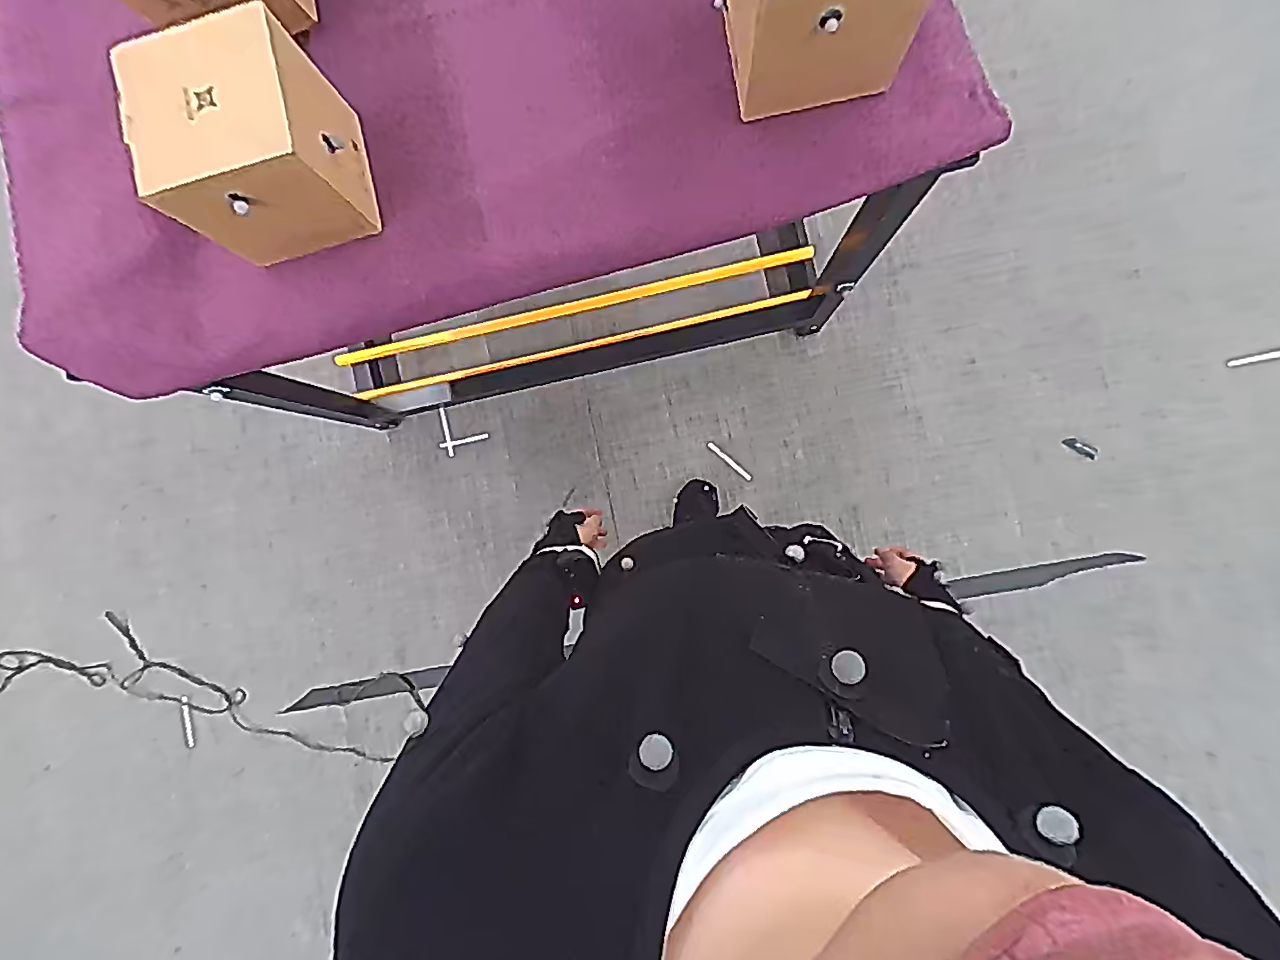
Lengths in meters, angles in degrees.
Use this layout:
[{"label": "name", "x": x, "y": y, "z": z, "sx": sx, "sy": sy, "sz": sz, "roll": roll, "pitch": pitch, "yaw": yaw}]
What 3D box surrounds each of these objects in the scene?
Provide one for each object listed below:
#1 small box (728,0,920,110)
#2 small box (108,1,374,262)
[{"label": "small box", "x": 0.190, "y": -0.534, "z": 0.570, "sx": 0.179, "sy": 0.176, "sz": 0.168, "roll": -9, "pitch": 87, "yaw": 4}, {"label": "small box", "x": -0.436, "y": -0.381, "z": 0.624, "sx": 0.179, "sy": 0.176, "sz": 0.168, "roll": -14, "pitch": 87, "yaw": 4}]
